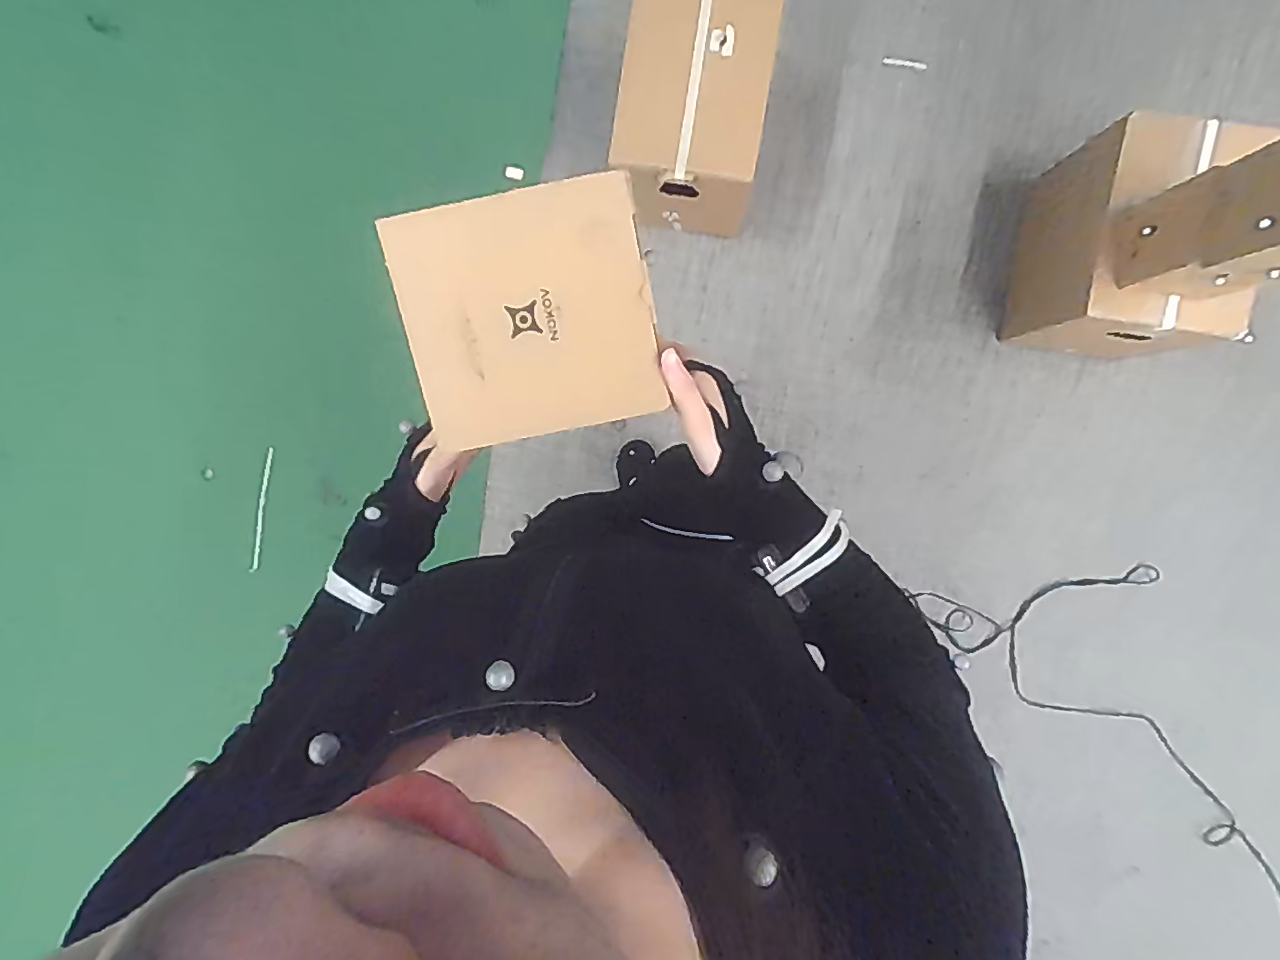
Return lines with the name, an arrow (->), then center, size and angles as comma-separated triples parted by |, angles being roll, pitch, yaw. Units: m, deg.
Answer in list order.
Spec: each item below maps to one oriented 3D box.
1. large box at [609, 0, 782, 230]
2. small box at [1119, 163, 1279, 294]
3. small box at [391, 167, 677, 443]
large box -> 0.126, -0.856, 1.264 | 0.320, 0.320, 0.408 | 10, 95, 3
small box -> 1.053, -0.450, 0.994 | 0.179, 0.176, 0.168 | 8, 96, 4
small box -> -0.073, -0.136, 0.459 | 0.179, 0.176, 0.168 | -10, 101, 2
